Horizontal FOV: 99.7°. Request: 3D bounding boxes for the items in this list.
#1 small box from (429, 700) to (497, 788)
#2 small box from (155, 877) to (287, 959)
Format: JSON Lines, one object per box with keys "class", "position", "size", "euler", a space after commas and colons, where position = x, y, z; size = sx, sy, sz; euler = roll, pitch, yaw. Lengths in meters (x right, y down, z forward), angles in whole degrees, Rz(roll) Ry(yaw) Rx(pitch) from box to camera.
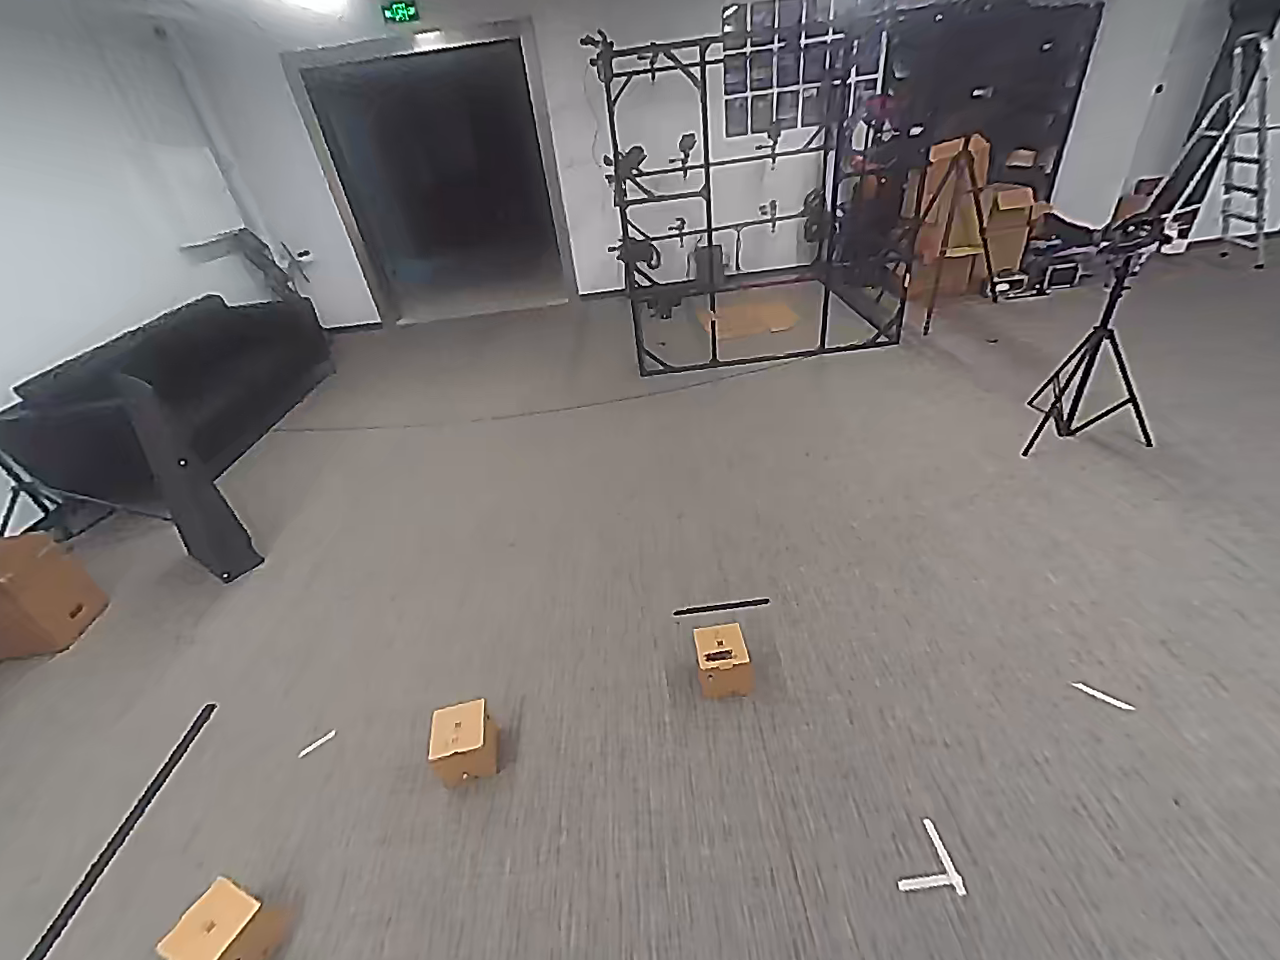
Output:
{"class": "small box", "position": [-0.562, 0.847, 1.737], "size": [0.168, 0.176, 0.179], "euler": [-12, 34, -7]}
{"class": "small box", "position": [-1.045, 1.159, 1.365], "size": [0.179, 0.176, 0.168], "euler": [8, 37, 23]}
